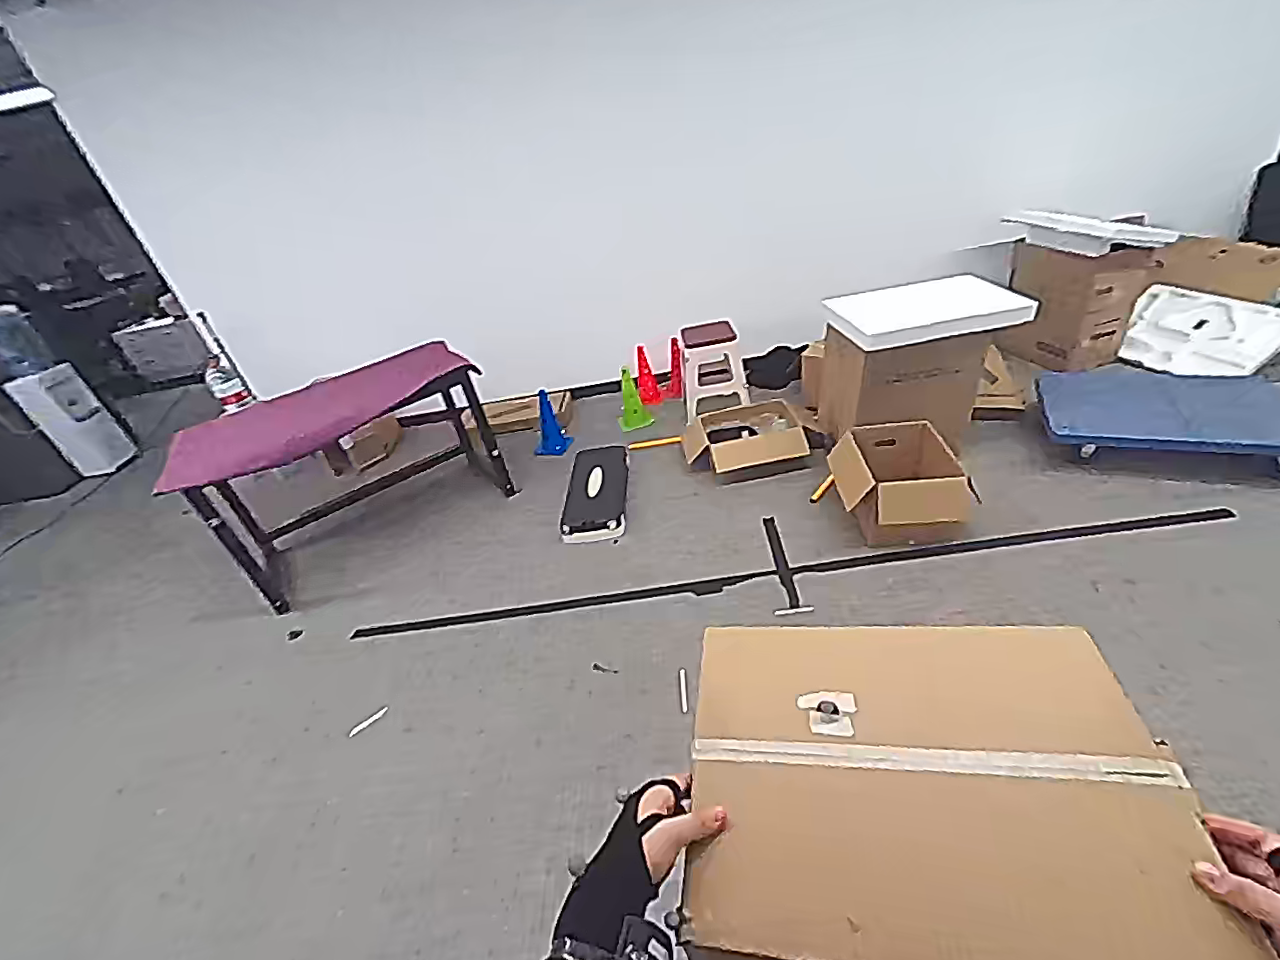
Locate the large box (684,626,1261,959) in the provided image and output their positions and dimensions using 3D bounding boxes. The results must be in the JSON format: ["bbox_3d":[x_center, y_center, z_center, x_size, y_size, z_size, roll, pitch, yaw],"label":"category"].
[{"bbox_3d":[0.286,0.385,0.597,0.408,0.320,0.320,-5,35,16],"label":"large box"}]
